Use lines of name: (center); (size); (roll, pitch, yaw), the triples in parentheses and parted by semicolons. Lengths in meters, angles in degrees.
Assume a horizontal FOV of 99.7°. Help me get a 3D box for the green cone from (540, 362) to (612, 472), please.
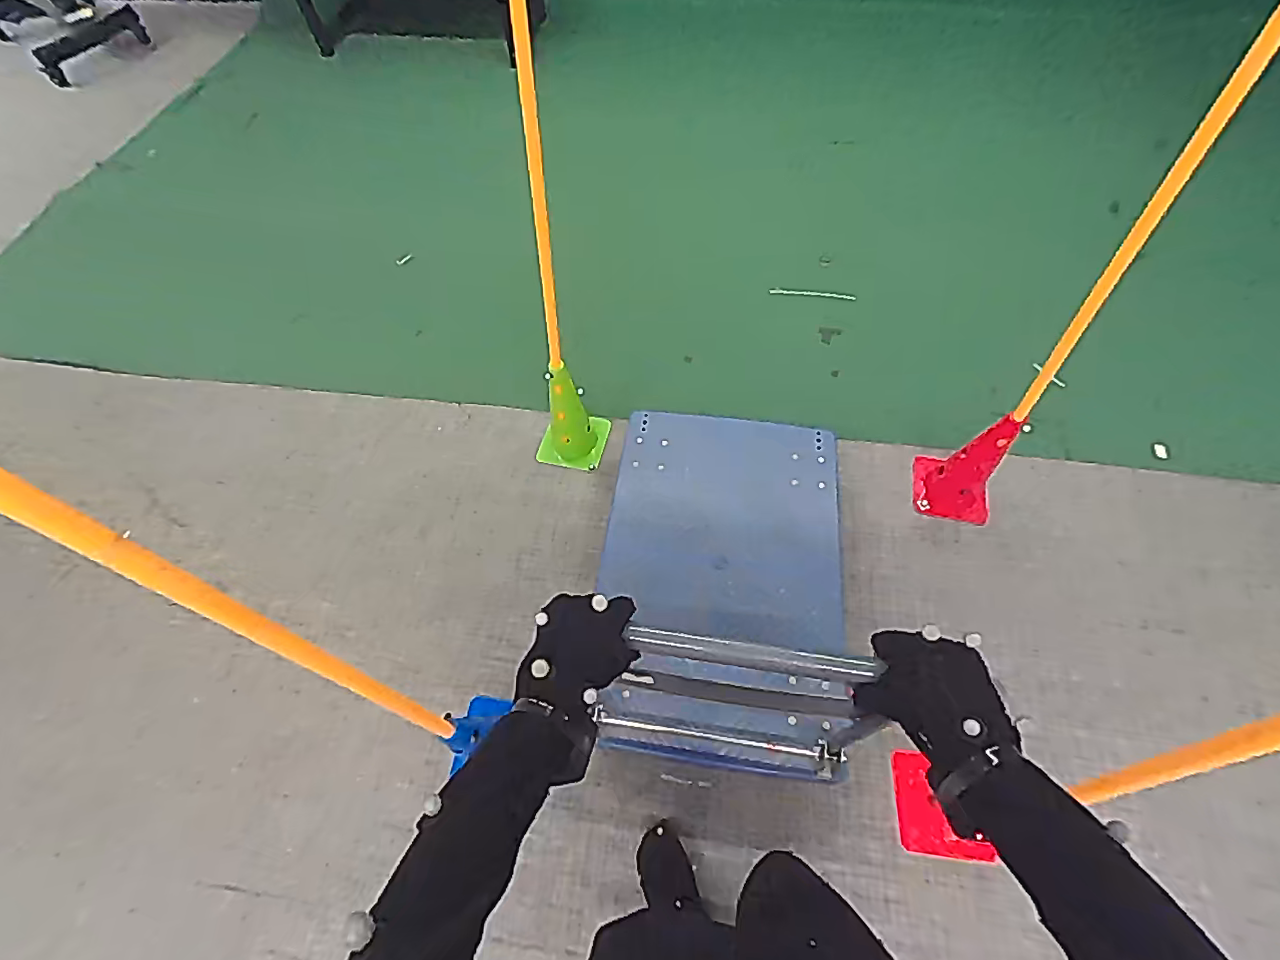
green cone: (-0.210, -0.208, 1.579); (0.202, 0.368, 0.200); (10, 60, 9)

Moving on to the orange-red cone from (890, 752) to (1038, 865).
orange-red cone: (0.656, 0.639, 1.058); (0.199, 0.360, 0.198); (5, 60, 7)
